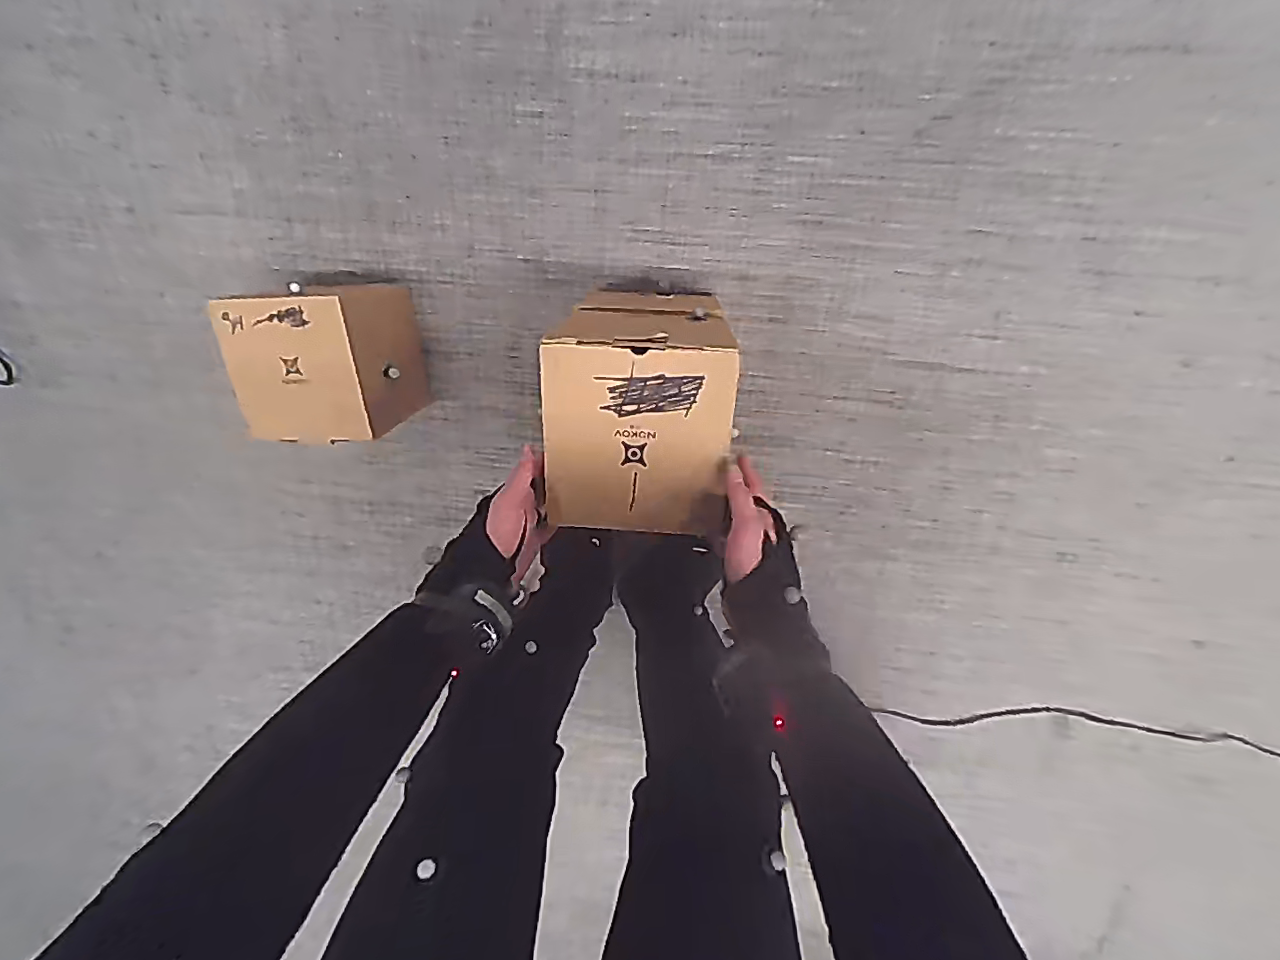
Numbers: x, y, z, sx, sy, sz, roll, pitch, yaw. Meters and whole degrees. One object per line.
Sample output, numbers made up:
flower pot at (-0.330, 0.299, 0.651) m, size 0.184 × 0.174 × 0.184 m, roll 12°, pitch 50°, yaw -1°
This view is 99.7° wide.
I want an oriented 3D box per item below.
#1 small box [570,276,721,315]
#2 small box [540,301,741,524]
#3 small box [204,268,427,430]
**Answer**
small box at (0.010, -0.155, 0.684) m, size 0.168 × 0.176 × 0.179 m, roll 3°, pitch 115°, yaw 3°
small box at (0.001, -0.077, 0.540) m, size 0.168 × 0.176 × 0.179 m, roll 4°, pitch 117°, yaw 3°
small box at (-0.404, -0.178, 0.714) m, size 0.168 × 0.176 × 0.179 m, roll 1°, pitch 117°, yaw 5°
